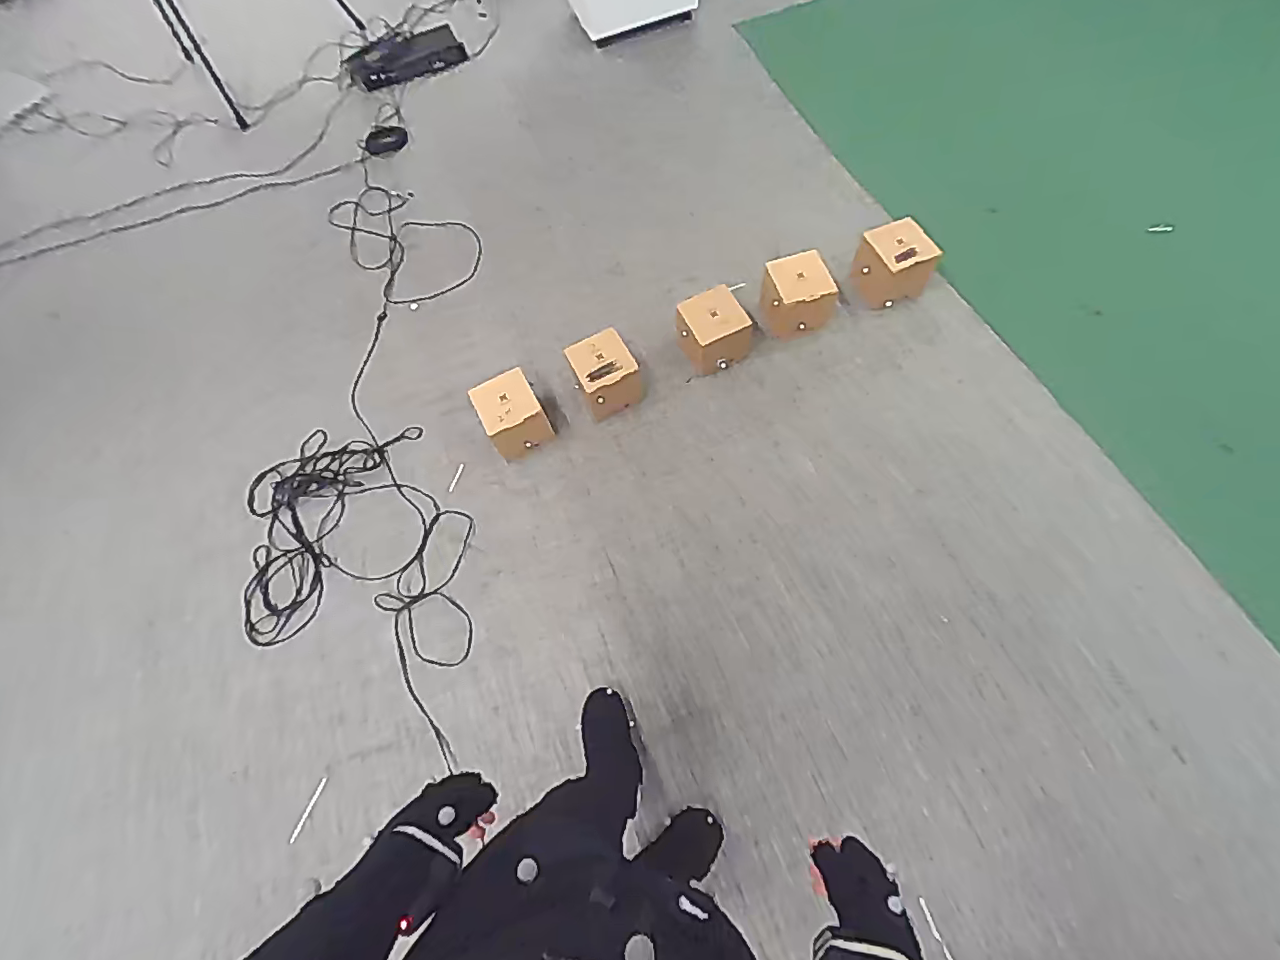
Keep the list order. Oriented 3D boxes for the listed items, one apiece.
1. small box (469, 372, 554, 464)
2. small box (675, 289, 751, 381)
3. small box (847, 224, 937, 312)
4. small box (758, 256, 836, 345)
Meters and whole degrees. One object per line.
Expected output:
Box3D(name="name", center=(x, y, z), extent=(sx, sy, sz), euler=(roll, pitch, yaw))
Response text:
Box3D(name="small box", center=(-0.372, -0.177, 1.584), extent=(0.168, 0.176, 0.179), euler=(-28, 66, -6))
Box3D(name="small box", center=(0.218, -0.436, 1.645), extent=(0.168, 0.176, 0.179), euler=(-25, 67, -4))
Box3D(name="small box", center=(0.779, -0.653, 1.691), extent=(0.168, 0.176, 0.179), euler=(-21, 64, -4))
Box3D(name="small box", center=(0.477, -0.551, 1.674), extent=(0.168, 0.176, 0.179), euler=(-16, 65, -2))
